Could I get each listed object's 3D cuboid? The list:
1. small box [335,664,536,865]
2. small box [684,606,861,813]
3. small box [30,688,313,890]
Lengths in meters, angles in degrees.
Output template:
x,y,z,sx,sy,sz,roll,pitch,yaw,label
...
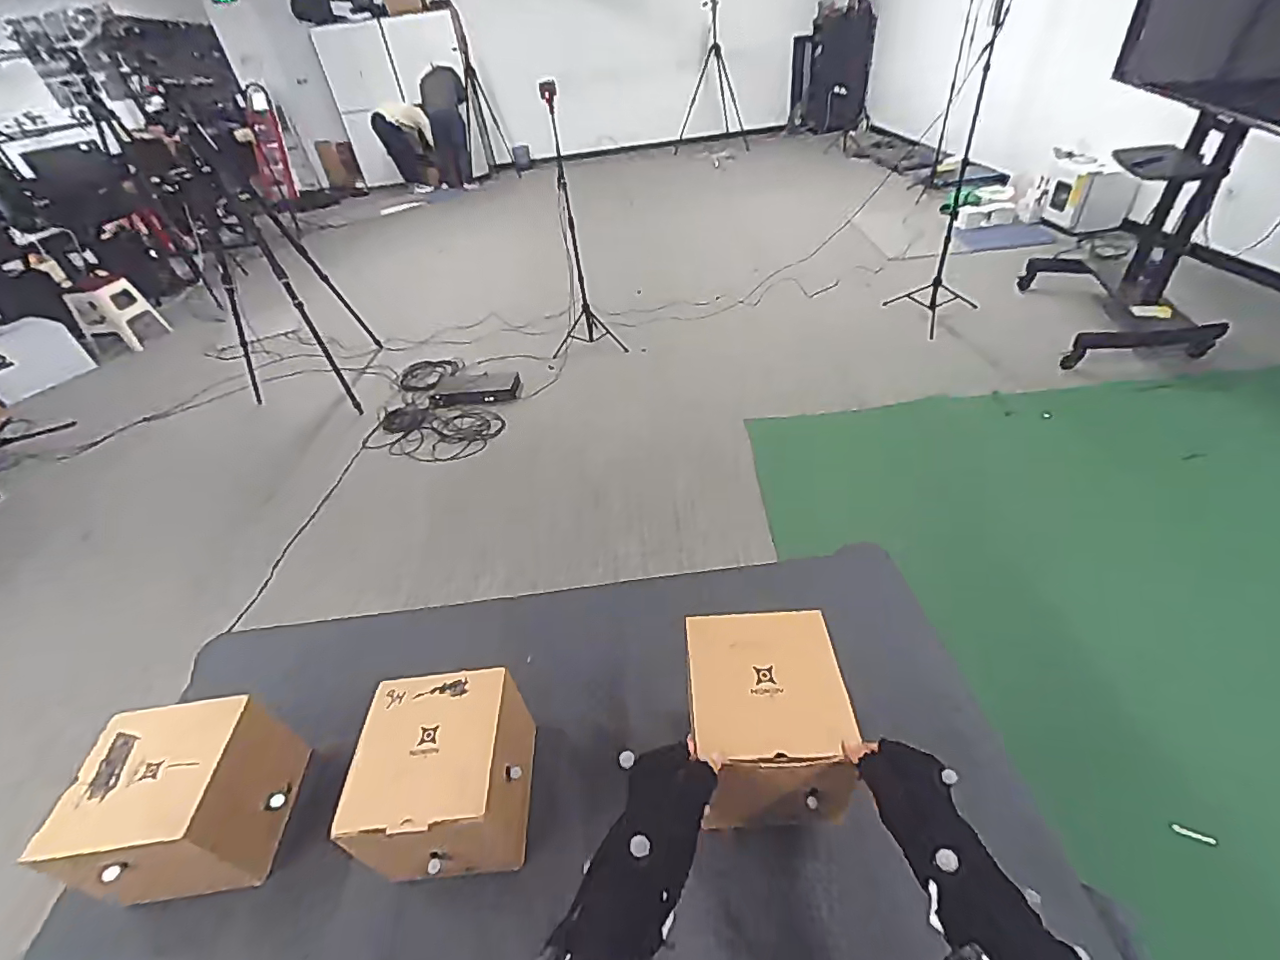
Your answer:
x,y,z,sx,sy,sz,roll,pitch,yaw,label
-0.234,0.358,0.675,0.168,0.176,0.179,-7,41,1,small box
0.141,0.274,0.639,0.168,0.176,0.179,-3,38,2,small box
-0.563,0.392,0.685,0.179,0.176,0.168,-7,40,-1,small box
